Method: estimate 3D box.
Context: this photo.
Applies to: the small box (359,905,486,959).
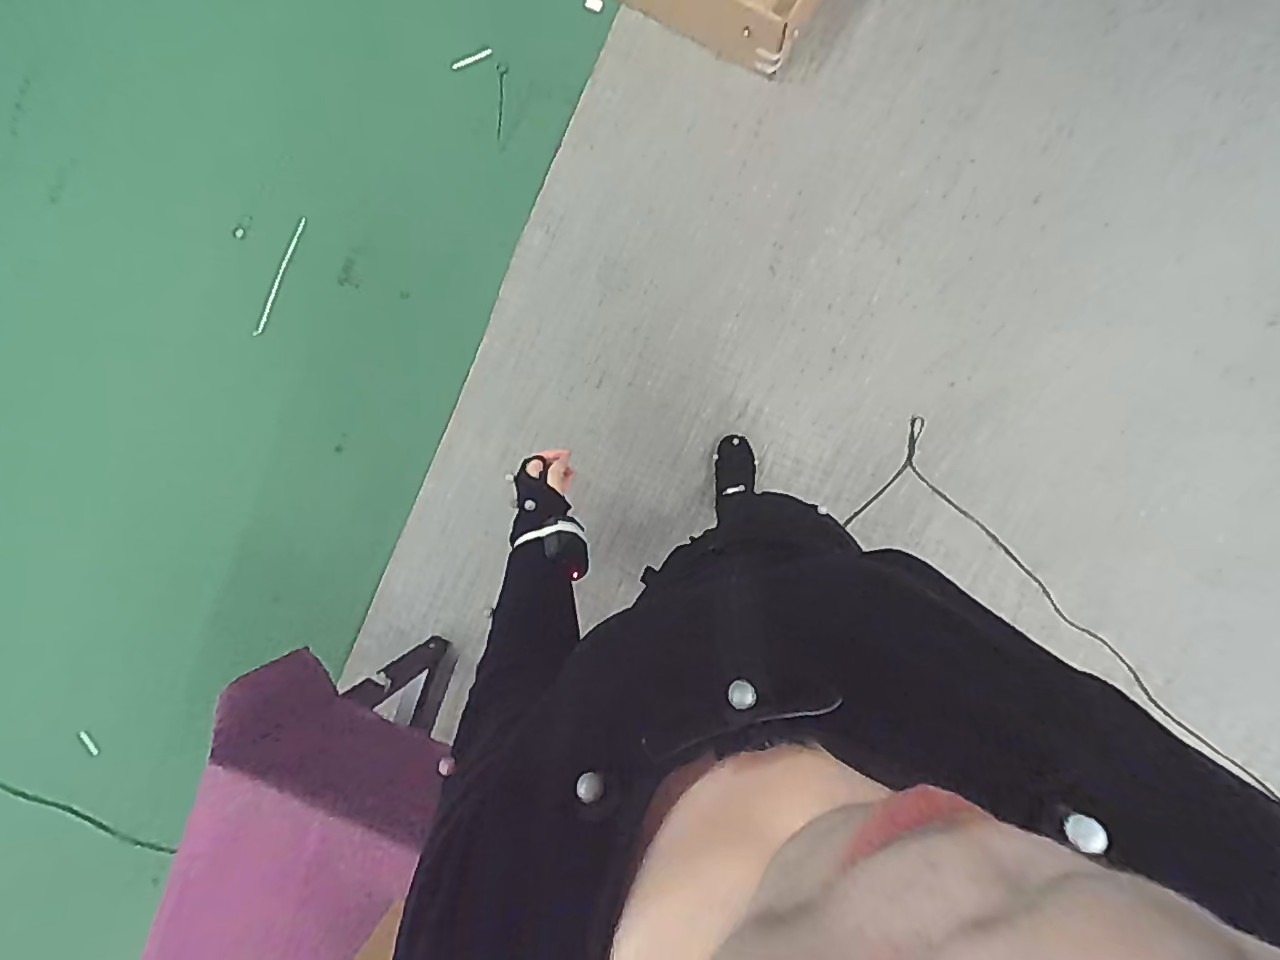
[{"bbox_3d":[-0.335,0.753,0.740,0.168,0.176,0.179,23,93,4],"label":"small box"}]
